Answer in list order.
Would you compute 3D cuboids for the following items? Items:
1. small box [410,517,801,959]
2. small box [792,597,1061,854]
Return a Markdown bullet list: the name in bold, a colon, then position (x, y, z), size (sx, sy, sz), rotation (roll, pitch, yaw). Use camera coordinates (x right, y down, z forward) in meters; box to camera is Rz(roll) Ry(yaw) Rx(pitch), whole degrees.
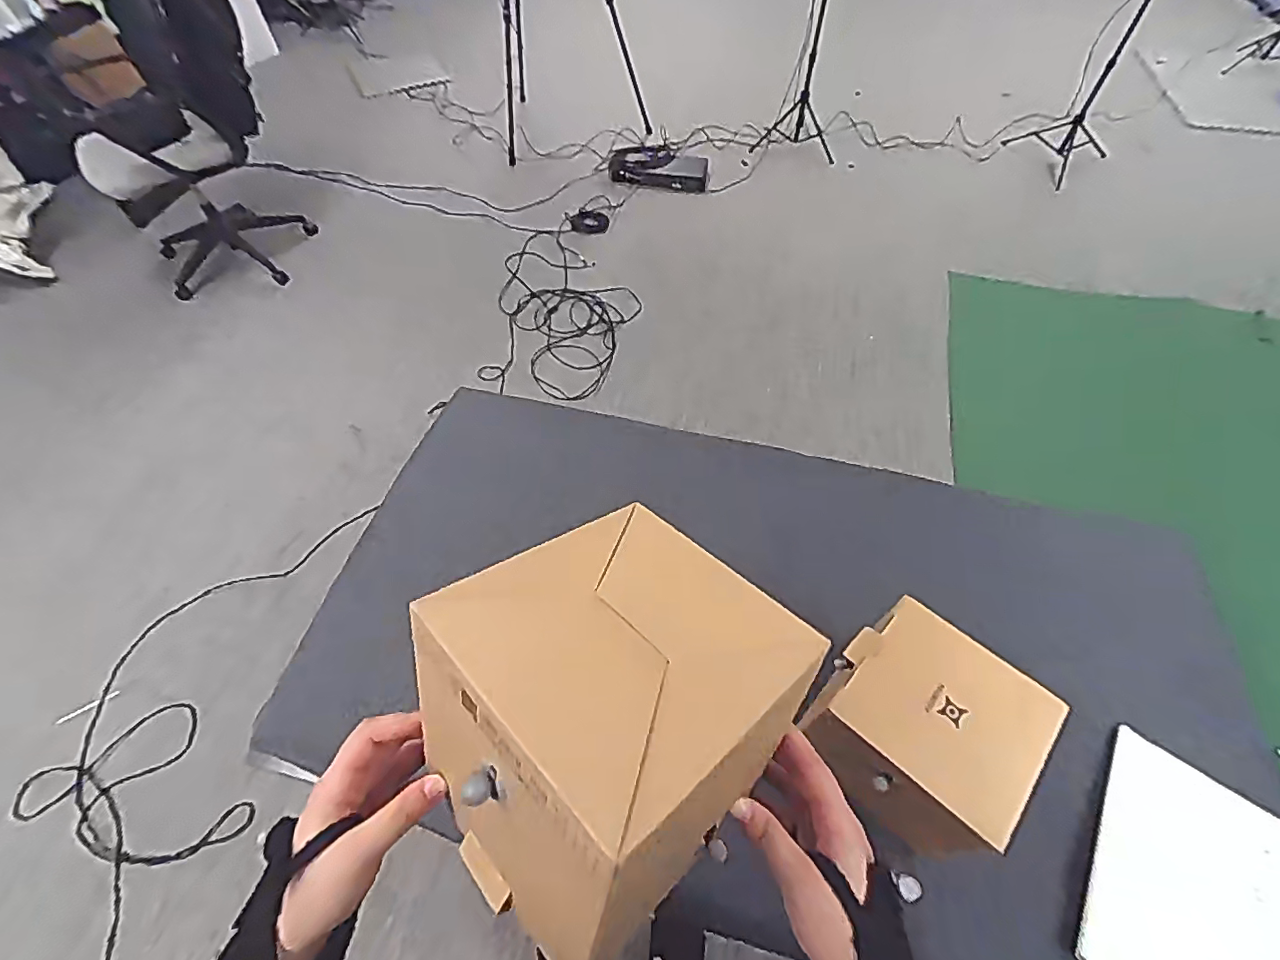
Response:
- **small box**: position (-0.025, 0.145, 0.346), size (0.168, 0.176, 0.179), rotation (33, 38, 33)
- **small box**: position (0.295, 0.268, 0.593), size (0.179, 0.176, 0.168), rotation (36, 63, 24)
